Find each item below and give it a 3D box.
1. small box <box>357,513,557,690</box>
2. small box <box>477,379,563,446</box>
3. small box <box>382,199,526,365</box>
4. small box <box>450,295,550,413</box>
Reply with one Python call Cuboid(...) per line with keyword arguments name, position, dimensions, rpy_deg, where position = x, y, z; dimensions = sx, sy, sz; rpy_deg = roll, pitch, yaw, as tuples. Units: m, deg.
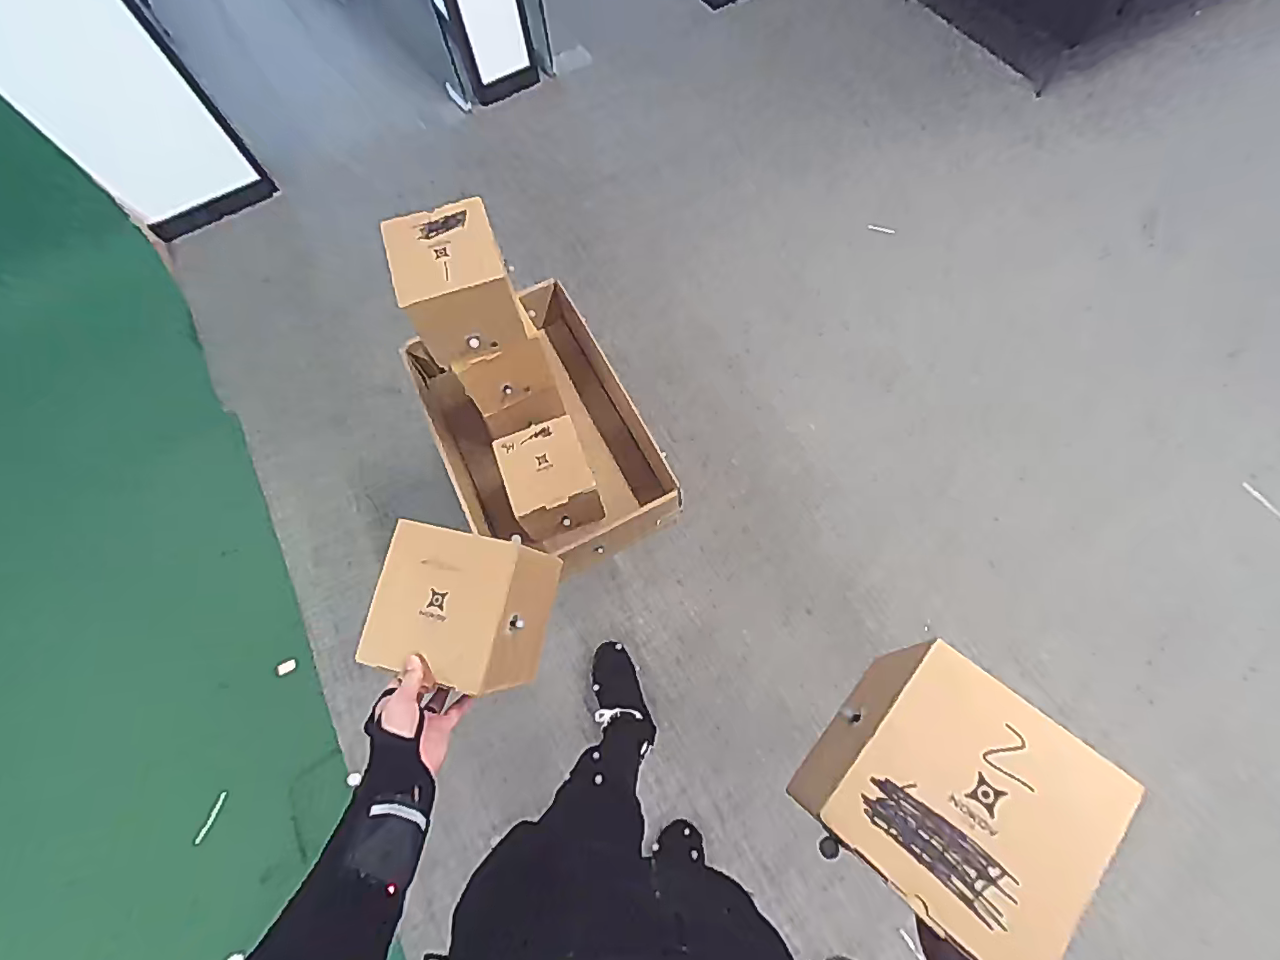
Cuboid(name="small box", position=(-0.224, 0.157, 0.713), dimensions=(0.168, 0.176, 0.179), rpy_deg=(11, 77, 13))
Cuboid(name="small box", position=(-0.290, -0.207, 1.213), dimensions=(0.168, 0.176, 0.179), rpy_deg=(-27, 71, -8))
Cuboid(name="small box", position=(-0.305, -0.326, 0.909), dimensions=(0.168, 0.176, 0.179), rpy_deg=(-18, 70, -5))
Cuboid(name="small box", position=(-0.294, -0.264, 1.062), dimensions=(0.168, 0.176, 0.179), rpy_deg=(-27, 71, -9))
